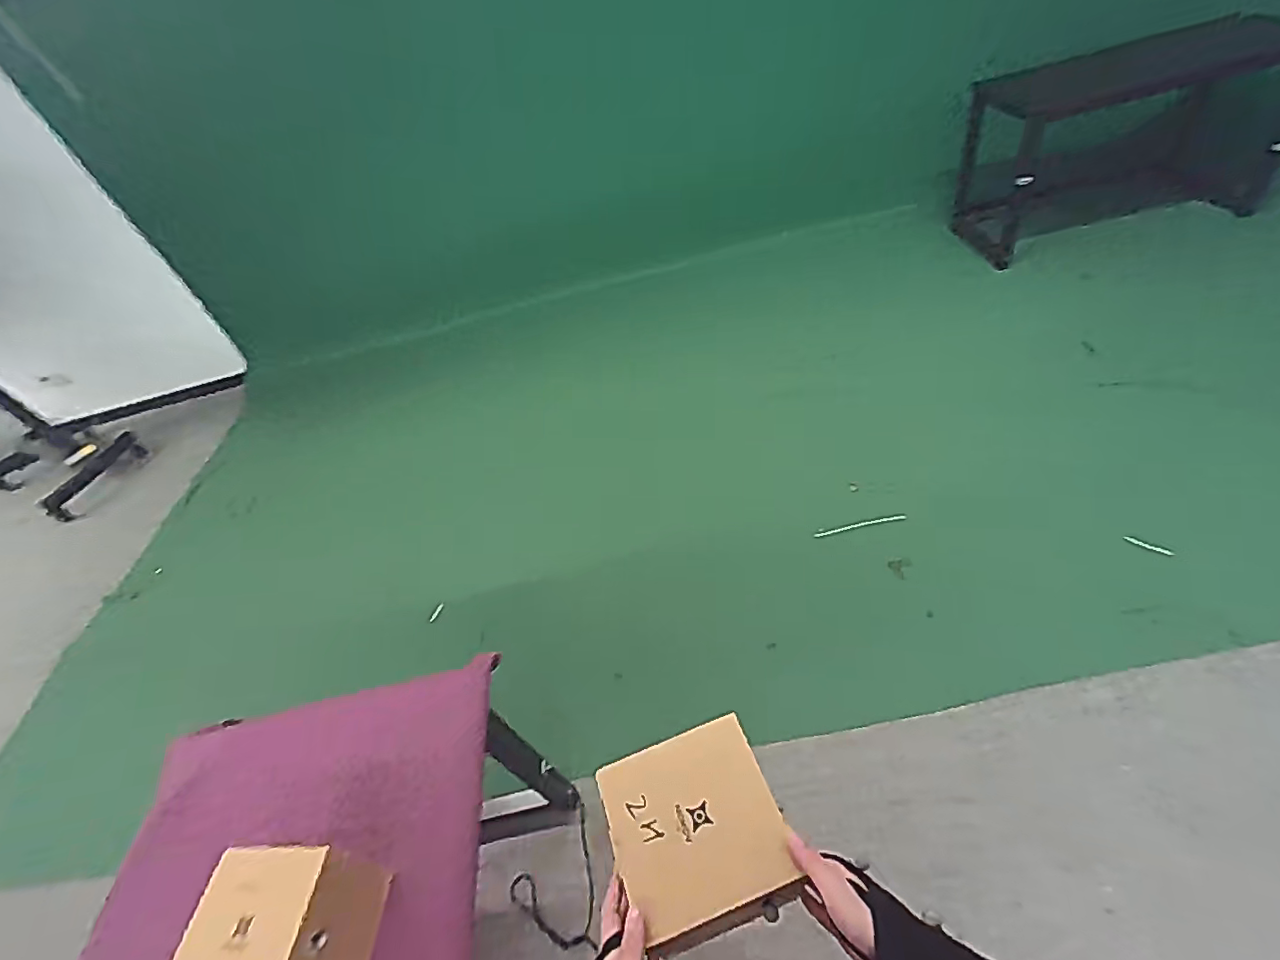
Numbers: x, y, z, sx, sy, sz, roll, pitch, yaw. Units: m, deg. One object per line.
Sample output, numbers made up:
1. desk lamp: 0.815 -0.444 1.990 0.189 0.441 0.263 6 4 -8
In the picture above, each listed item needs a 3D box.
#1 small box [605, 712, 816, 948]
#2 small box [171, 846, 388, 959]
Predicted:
1. small box: 0.077 0.399 0.618 0.179 0.176 0.168 -20 46 -4
2. small box: -0.473 0.608 0.722 0.168 0.176 0.179 -7 46 11
